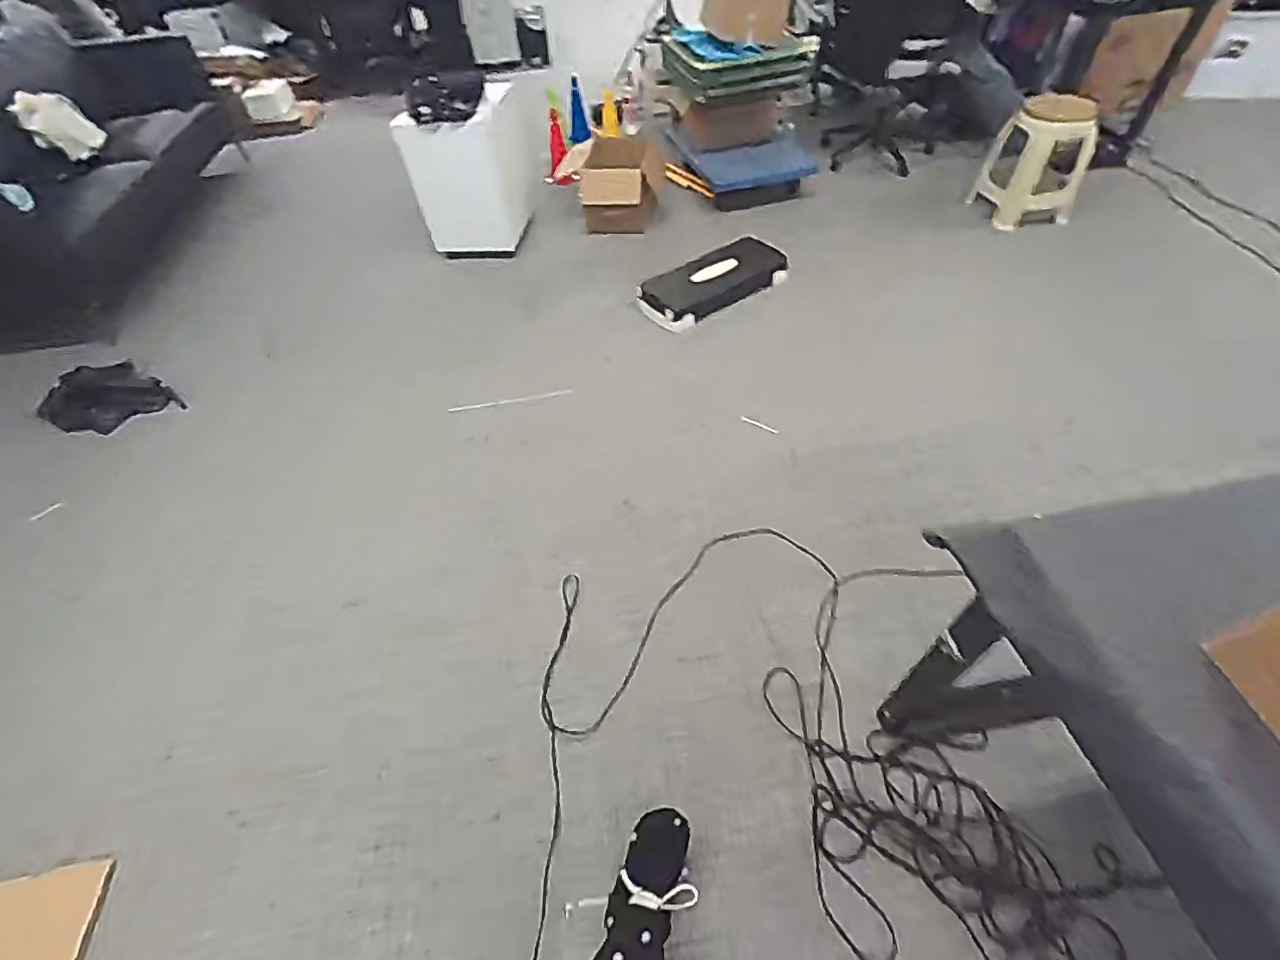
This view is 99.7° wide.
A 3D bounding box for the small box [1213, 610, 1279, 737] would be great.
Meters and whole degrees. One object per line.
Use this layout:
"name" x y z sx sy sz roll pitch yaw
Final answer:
"small box" 0.702 0.185 0.480 0.168 0.176 0.179 -8 51 -3
